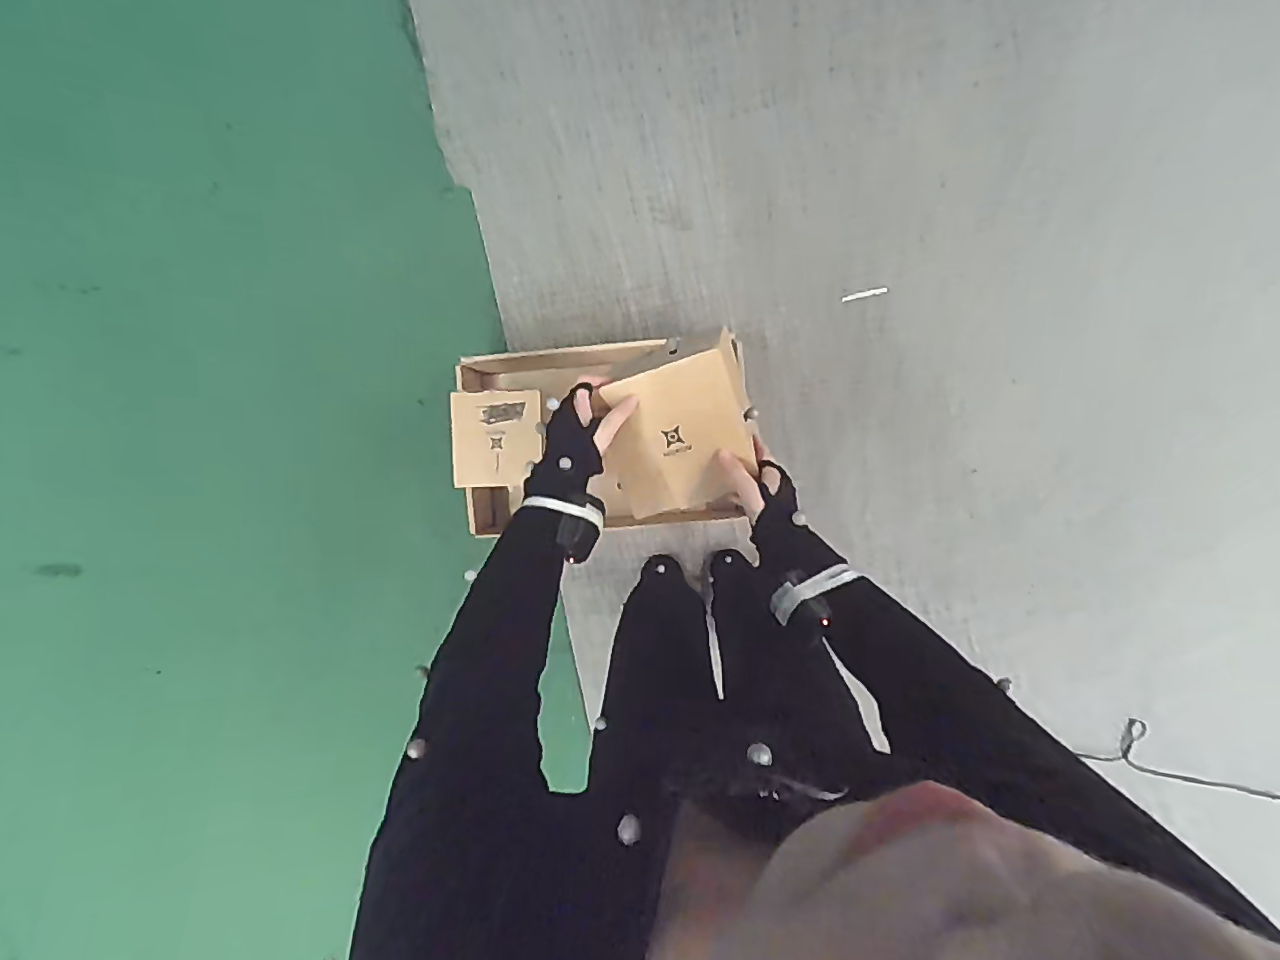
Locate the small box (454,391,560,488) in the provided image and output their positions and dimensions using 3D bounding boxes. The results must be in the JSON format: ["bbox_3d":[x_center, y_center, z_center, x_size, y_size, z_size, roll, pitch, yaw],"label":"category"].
[{"bbox_3d":[-0.252,-0.076,1.054,0.168,0.176,0.179,-1,93,2],"label":"small box"}]

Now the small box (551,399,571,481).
[{"bbox_3d":[-0.250,-0.086,1.217,0.168,0.176,0.179,-3,92,1],"label":"small box"}]

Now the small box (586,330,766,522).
[{"bbox_3d":[0.053,-0.078,0.687,0.168,0.176,0.179,-17,112,17],"label":"small box"}]
